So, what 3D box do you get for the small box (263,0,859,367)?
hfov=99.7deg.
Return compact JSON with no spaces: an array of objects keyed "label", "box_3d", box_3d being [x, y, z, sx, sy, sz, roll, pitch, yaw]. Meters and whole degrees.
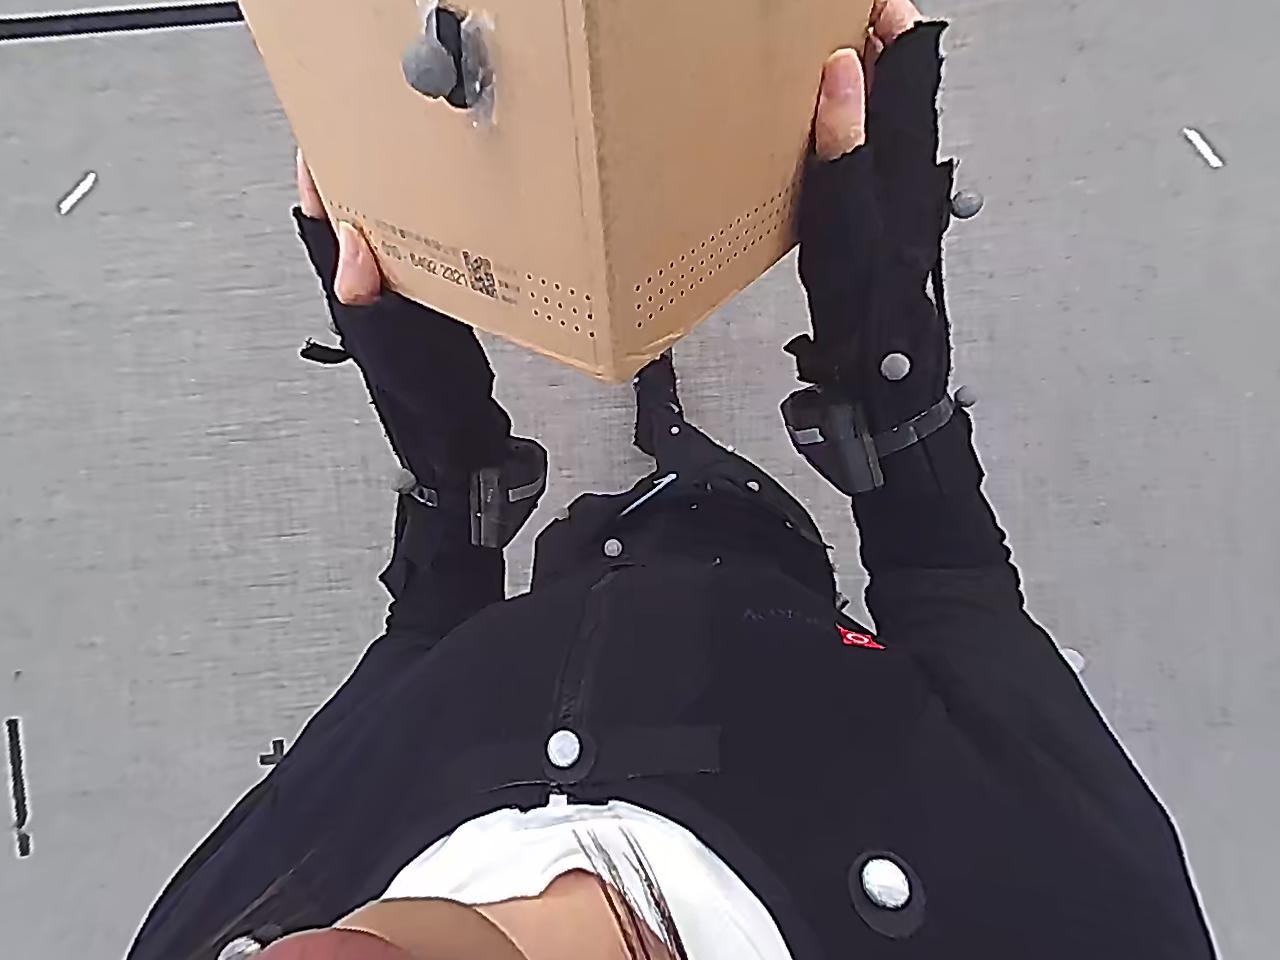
[{"label":"small box","box_3d":[-0.021,-0.171,0.214,0.168,0.176,0.179,29,54,26]}]
